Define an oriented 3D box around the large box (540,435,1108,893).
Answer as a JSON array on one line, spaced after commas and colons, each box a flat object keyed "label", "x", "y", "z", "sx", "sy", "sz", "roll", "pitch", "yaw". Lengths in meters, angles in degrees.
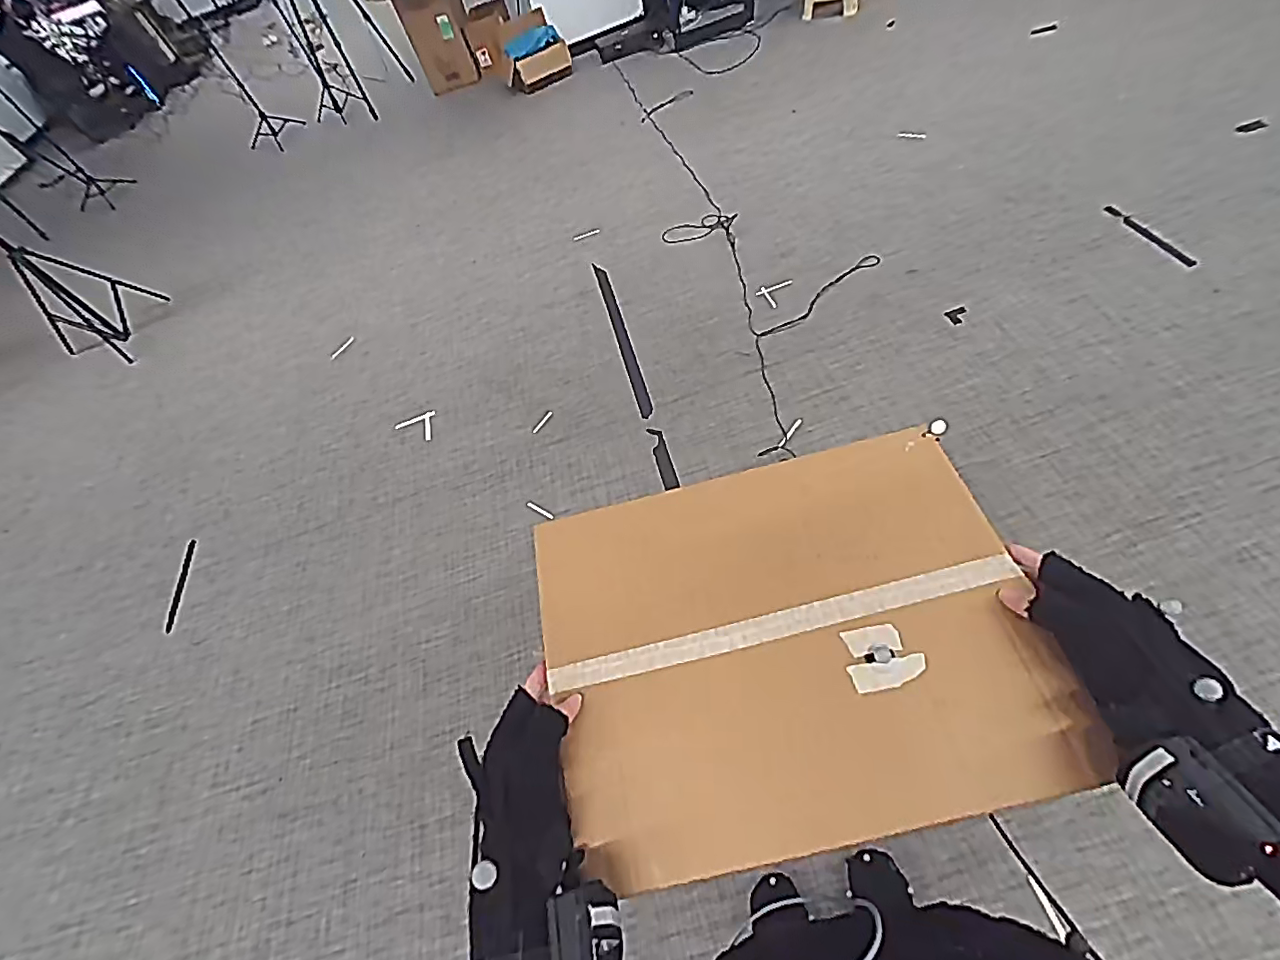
[{"label": "large box", "x": 0.140, "y": 0.206, "z": 0.596, "sx": 0.408, "sy": 0.320, "sz": 0.320, "roll": -15, "pitch": 57, "yaw": 1}]
